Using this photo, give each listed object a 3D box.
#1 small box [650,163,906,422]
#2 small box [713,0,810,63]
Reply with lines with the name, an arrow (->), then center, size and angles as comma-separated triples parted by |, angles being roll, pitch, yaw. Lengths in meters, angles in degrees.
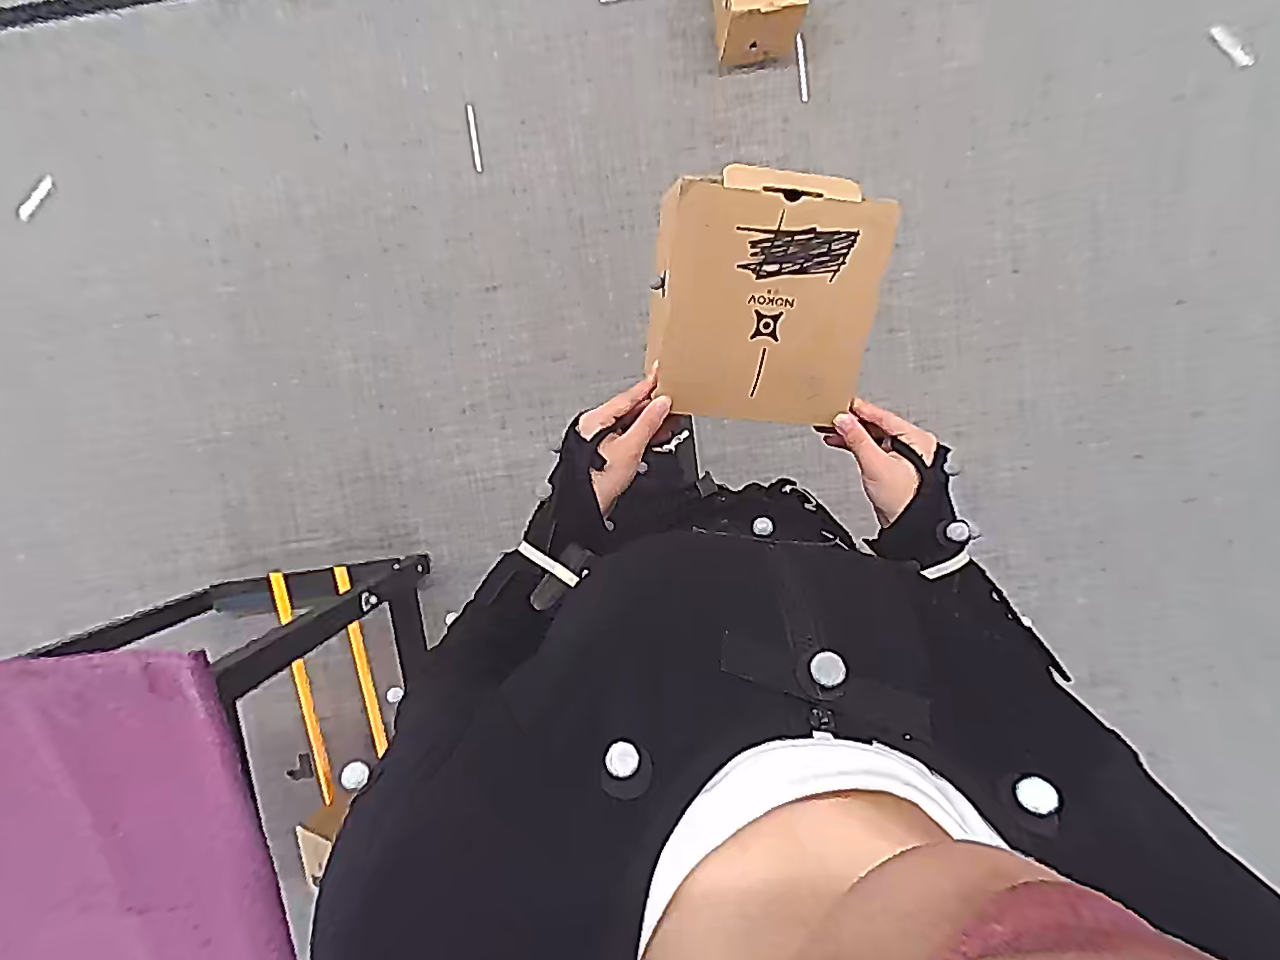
small box -> 0.100, -0.165, 0.487 | 0.168, 0.176, 0.179 | 4, 113, -4
small box -> 0.260, -1.073, 1.191 | 0.168, 0.176, 0.179 | -8, 96, 0
